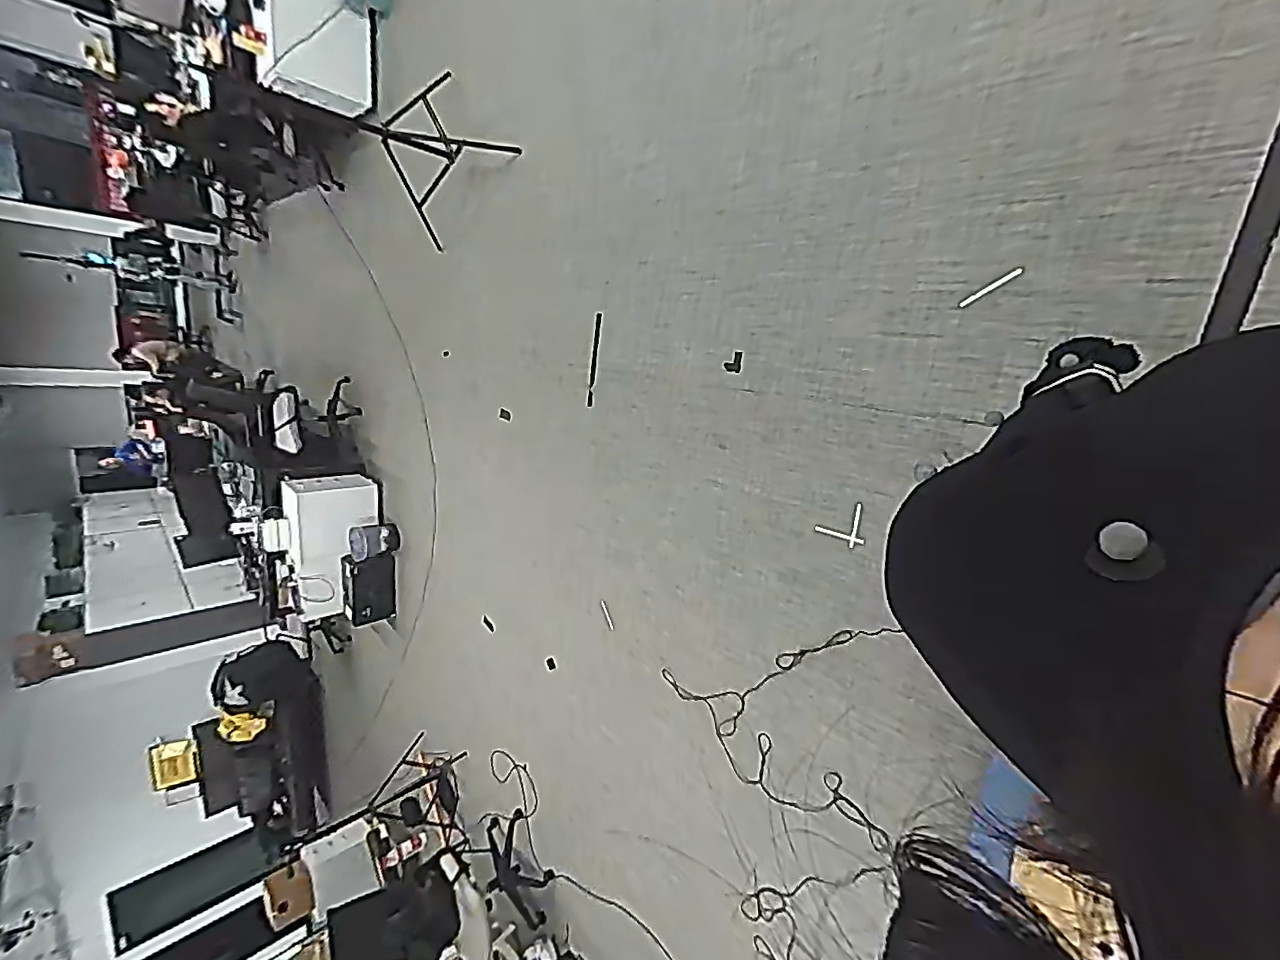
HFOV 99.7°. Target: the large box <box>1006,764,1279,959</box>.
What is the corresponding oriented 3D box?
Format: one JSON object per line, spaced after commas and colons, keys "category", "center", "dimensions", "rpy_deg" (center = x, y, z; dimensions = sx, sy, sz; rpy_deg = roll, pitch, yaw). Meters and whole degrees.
{"category": "large box", "center": [0.917, 0.785, 0.937], "dimensions": [0.408, 0.320, 0.320], "rpy_deg": [9, 101, 46]}
